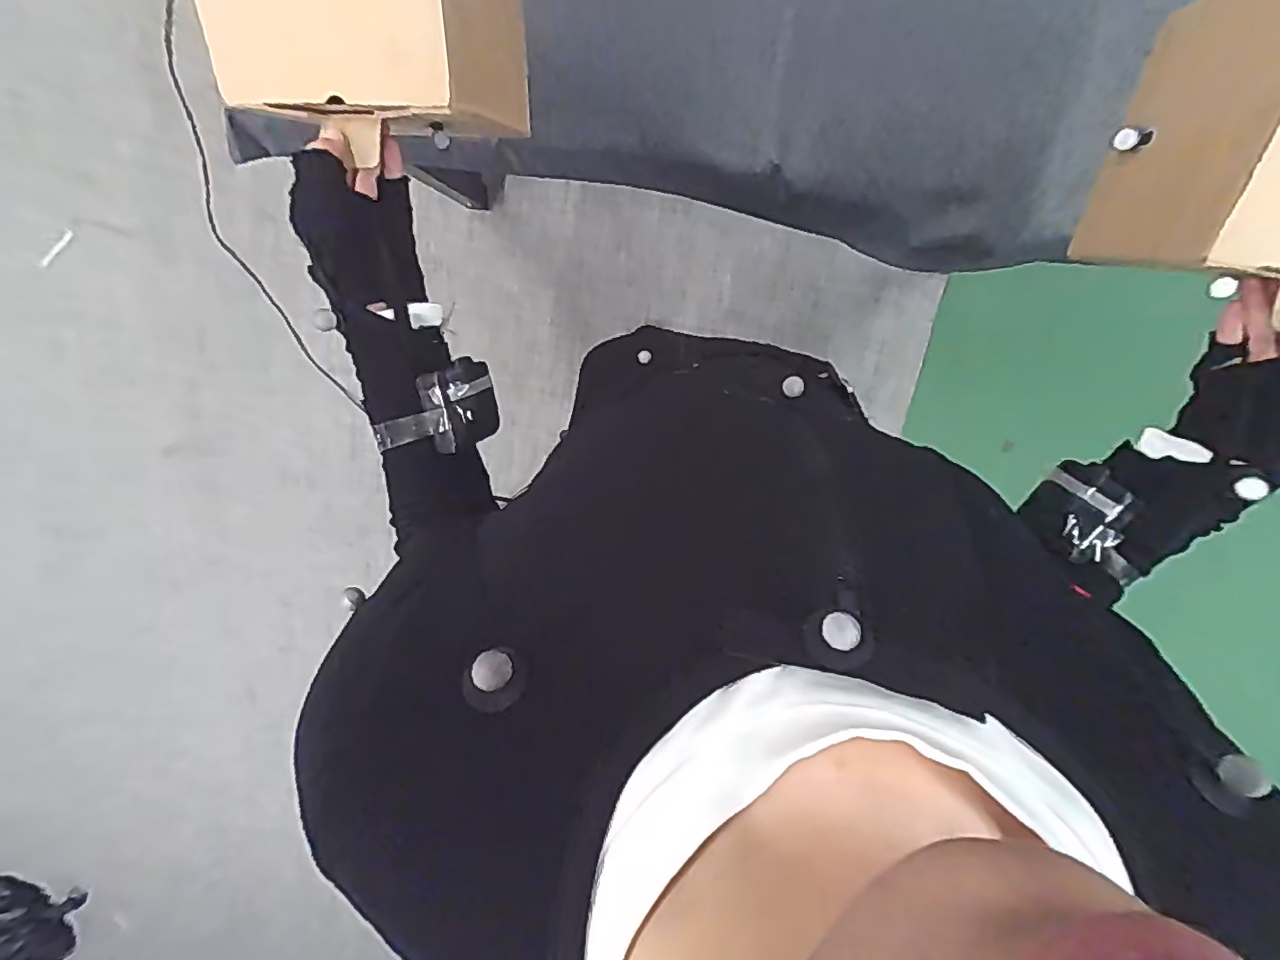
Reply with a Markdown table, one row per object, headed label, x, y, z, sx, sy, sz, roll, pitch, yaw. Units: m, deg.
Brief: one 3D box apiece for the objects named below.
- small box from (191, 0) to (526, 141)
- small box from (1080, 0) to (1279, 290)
| label | x | y | z | sx | sy | sz | roll | pitch | yaw |
| --- | --- | --- | --- | --- | --- | --- | --- | --- | --- |
| small box | -0.188 | -0.353 | 0.389 | 0.168 | 0.176 | 0.179 | 4 | 117 | 5 |
| small box | 0.459 | -0.228 | 0.374 | 0.168 | 0.176 | 0.179 | 10 | 115 | 6 |
